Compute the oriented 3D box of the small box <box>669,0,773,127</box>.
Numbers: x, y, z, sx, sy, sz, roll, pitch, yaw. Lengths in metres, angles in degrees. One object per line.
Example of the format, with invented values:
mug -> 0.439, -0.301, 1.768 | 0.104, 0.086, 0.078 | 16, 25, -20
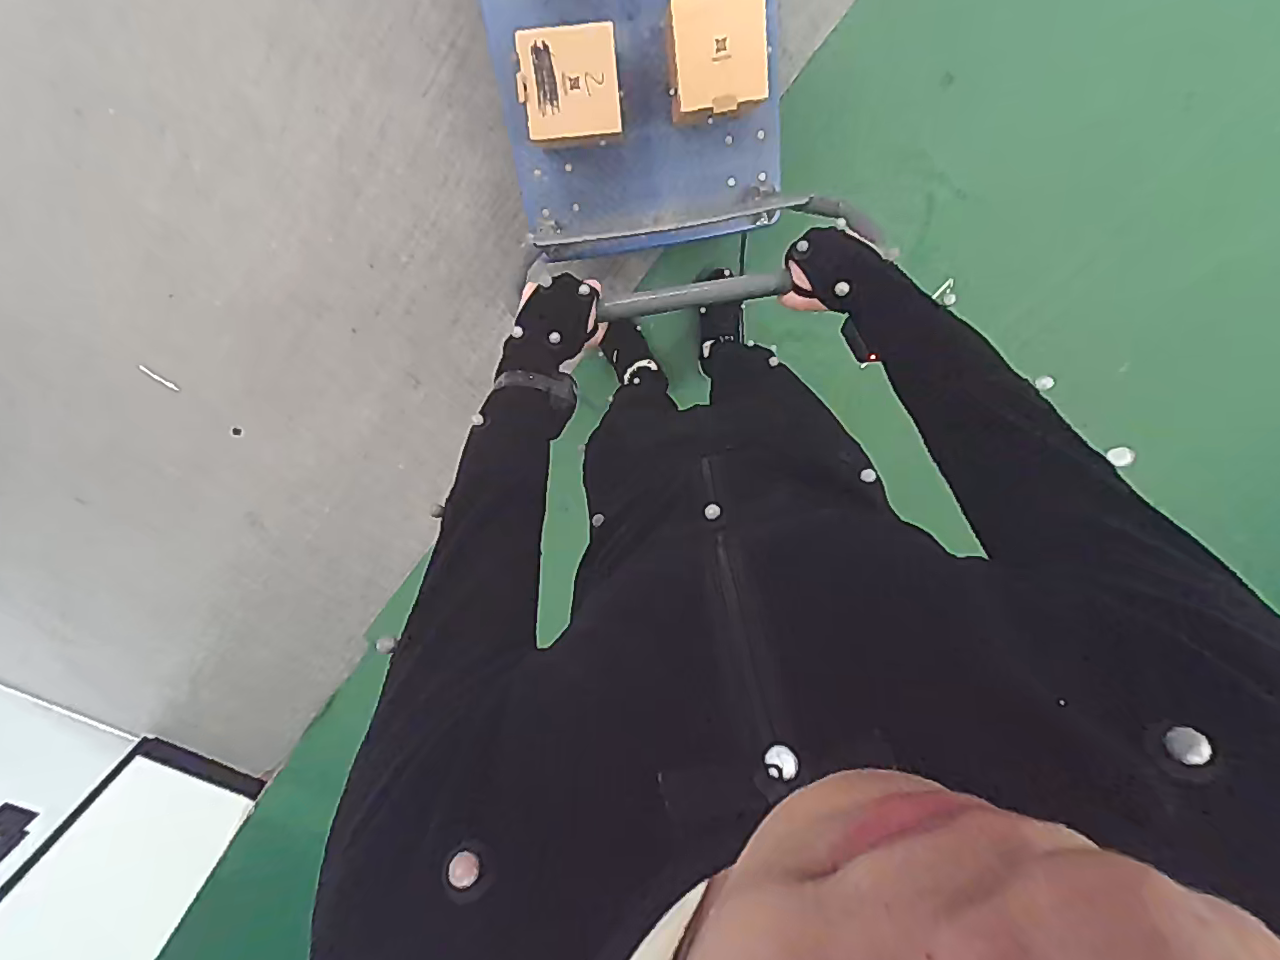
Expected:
small box -> 0.149, -0.797, 1.031 | 0.168, 0.176, 0.179 | -8, 117, 2
